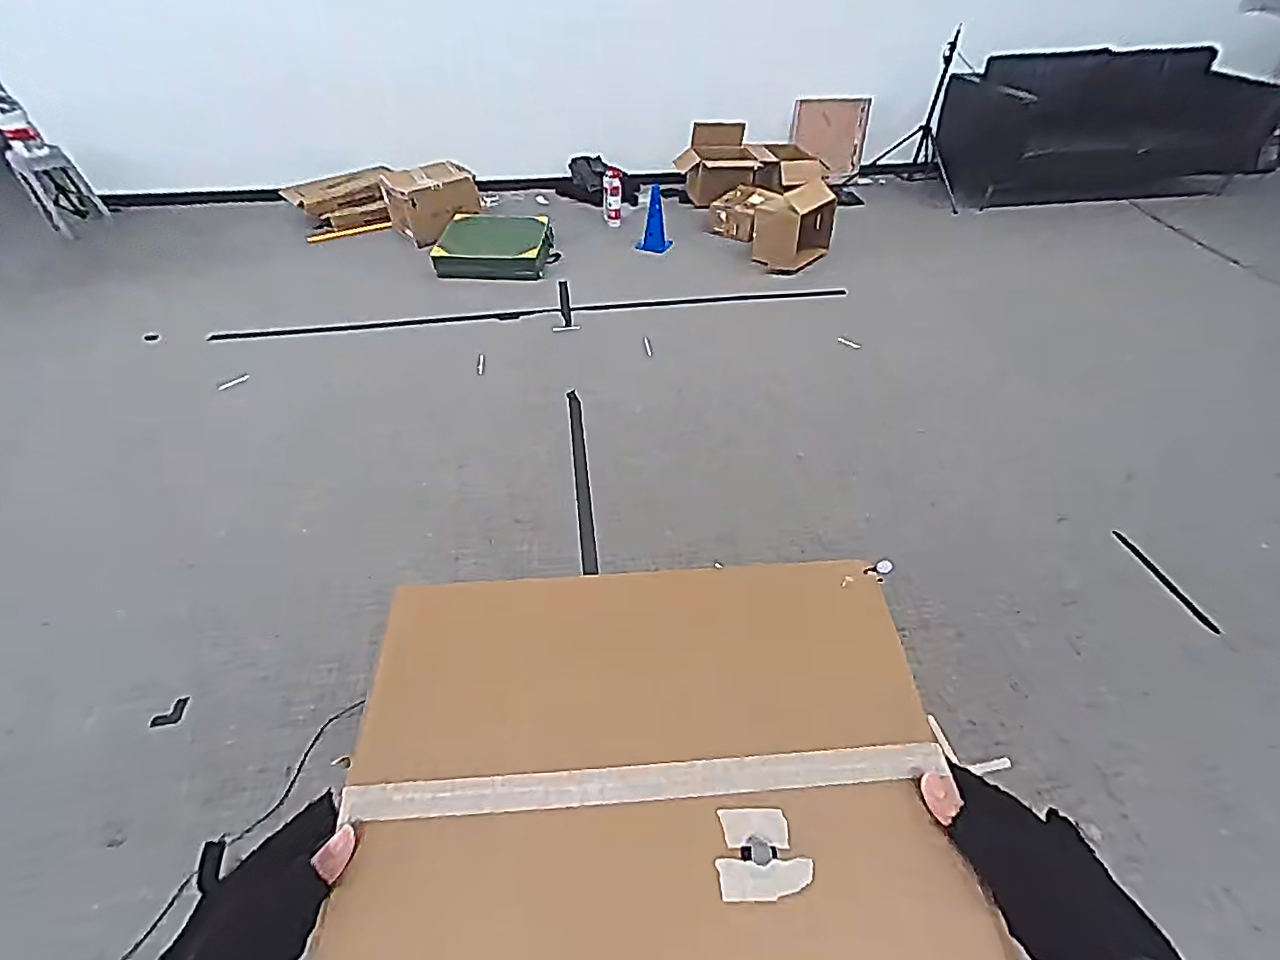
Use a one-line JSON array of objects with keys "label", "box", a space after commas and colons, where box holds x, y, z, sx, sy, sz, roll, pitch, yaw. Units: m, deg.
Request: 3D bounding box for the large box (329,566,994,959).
[{"label": "large box", "box": [0.005, 0.301, 0.500, 0.408, 0.320, 0.320, -3, 53, -2]}]
